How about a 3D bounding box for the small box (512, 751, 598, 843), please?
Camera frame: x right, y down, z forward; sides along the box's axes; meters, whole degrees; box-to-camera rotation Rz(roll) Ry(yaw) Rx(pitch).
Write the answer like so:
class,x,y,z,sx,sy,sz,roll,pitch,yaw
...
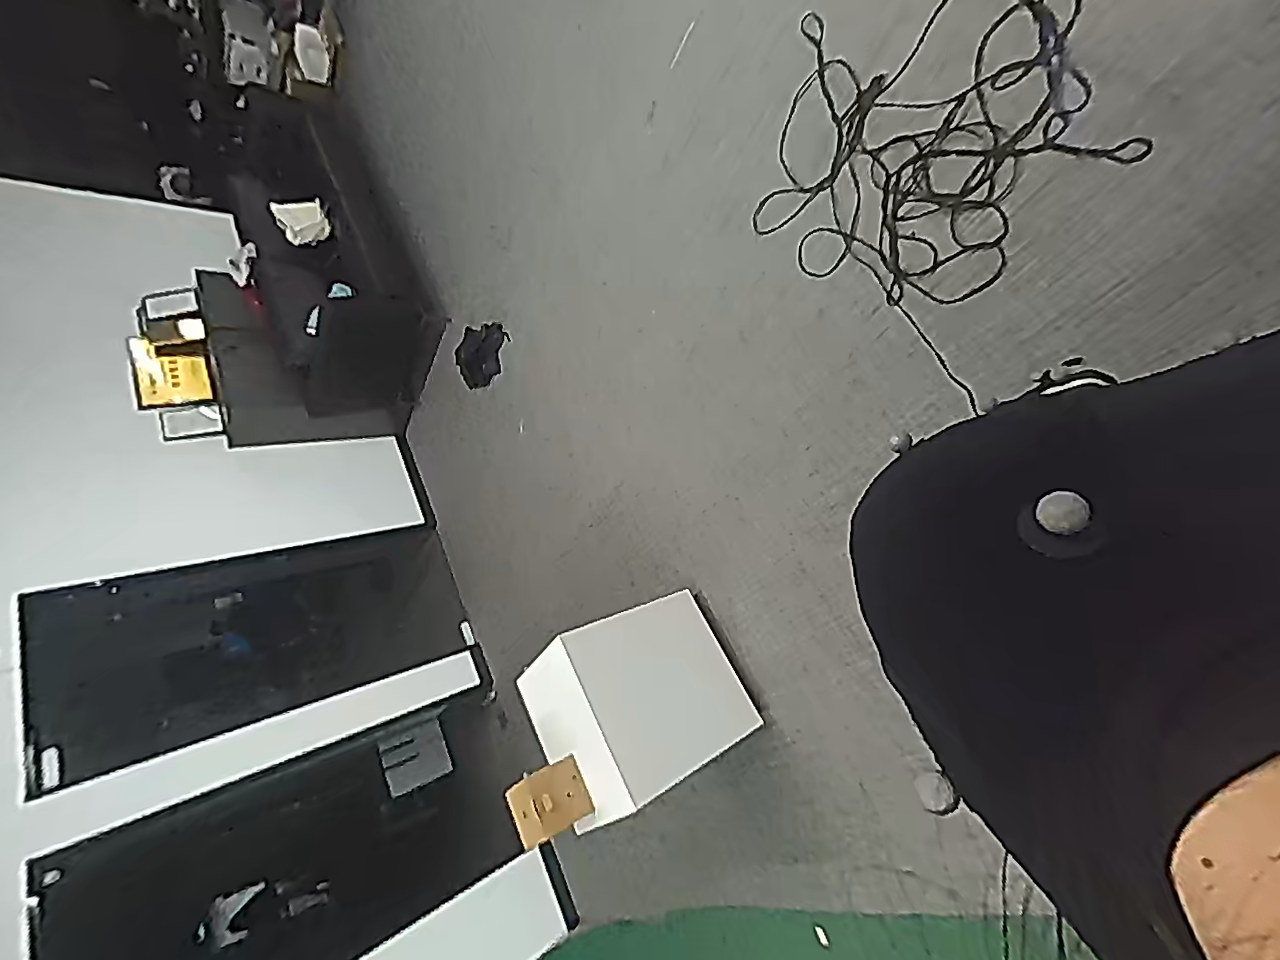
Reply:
class,x,y,z,sx,sy,sz,roll,pitch,yaw
small box,-0.252,0.940,1.607,0.179,0.176,0.168,-52,58,40
